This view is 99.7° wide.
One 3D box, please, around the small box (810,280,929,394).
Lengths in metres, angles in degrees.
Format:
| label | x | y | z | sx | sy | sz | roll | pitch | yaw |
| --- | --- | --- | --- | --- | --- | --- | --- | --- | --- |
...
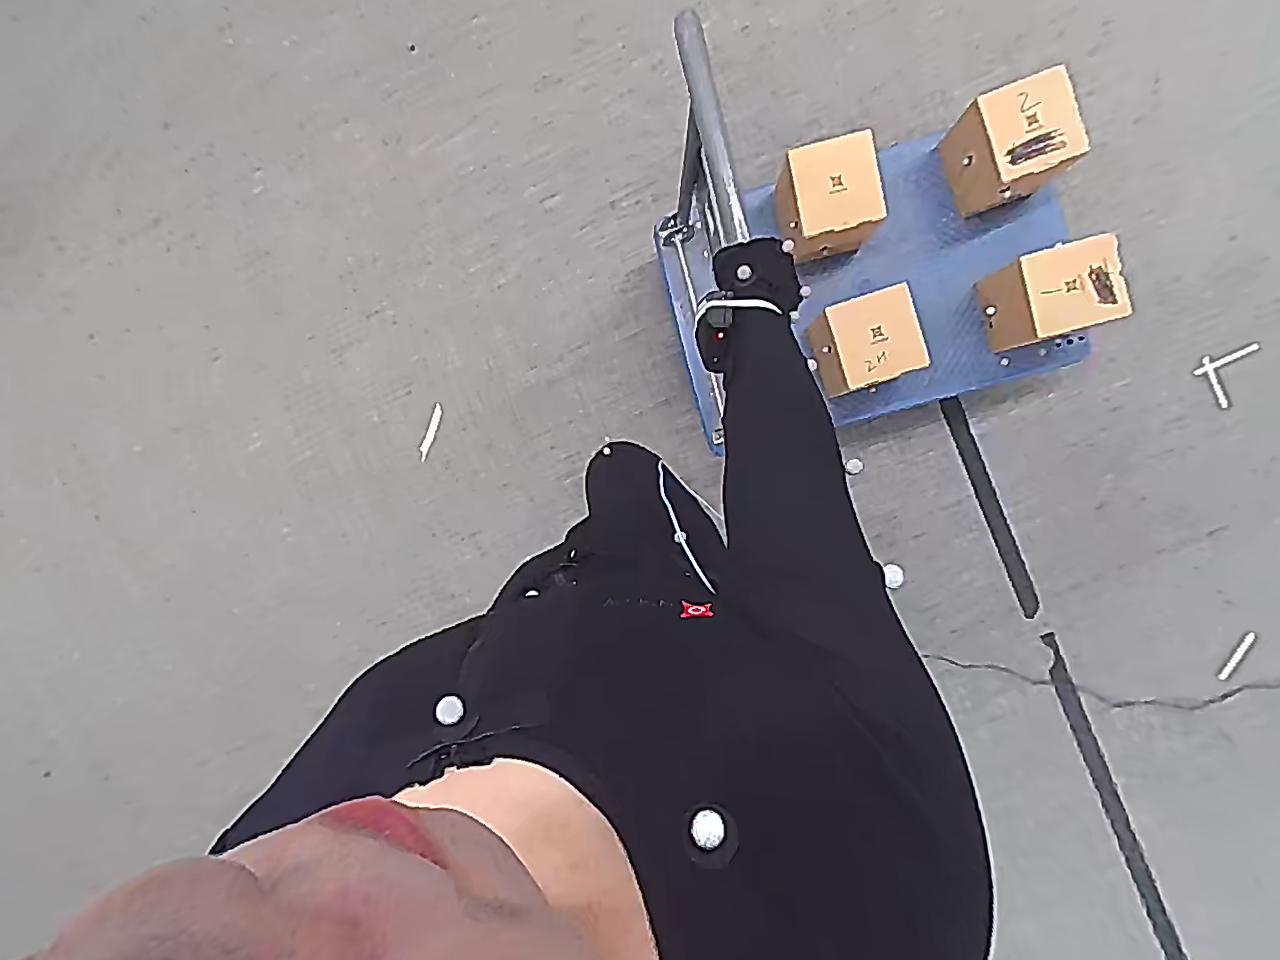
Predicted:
| label | x | y | z | sx | sy | sz | roll | pitch | yaw |
| --- | --- | --- | --- | --- | --- | --- | --- | --- | --- |
| small box | 0.478 | -0.296 | 1.155 | 0.168 | 0.176 | 0.179 | -17 | 92 | 6 |

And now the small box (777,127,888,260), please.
| label | x | y | z | sx | sy | sz | roll | pitch | yaw |
| --- | --- | --- | --- | --- | --- | --- | --- | --- | --- |
| small box | 0.397 | -0.594 | 1.143 | 0.168 | 0.176 | 0.179 | -12 | 94 | 5 |

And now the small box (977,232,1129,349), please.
| label | x | y | z | sx | sy | sz | roll | pitch | yaw |
| --- | --- | --- | --- | --- | --- | --- | --- | --- | --- |
| small box | 0.844 | -0.382 | 1.119 | 0.179 | 0.176 | 0.168 | -14 | 92 | 7 |
